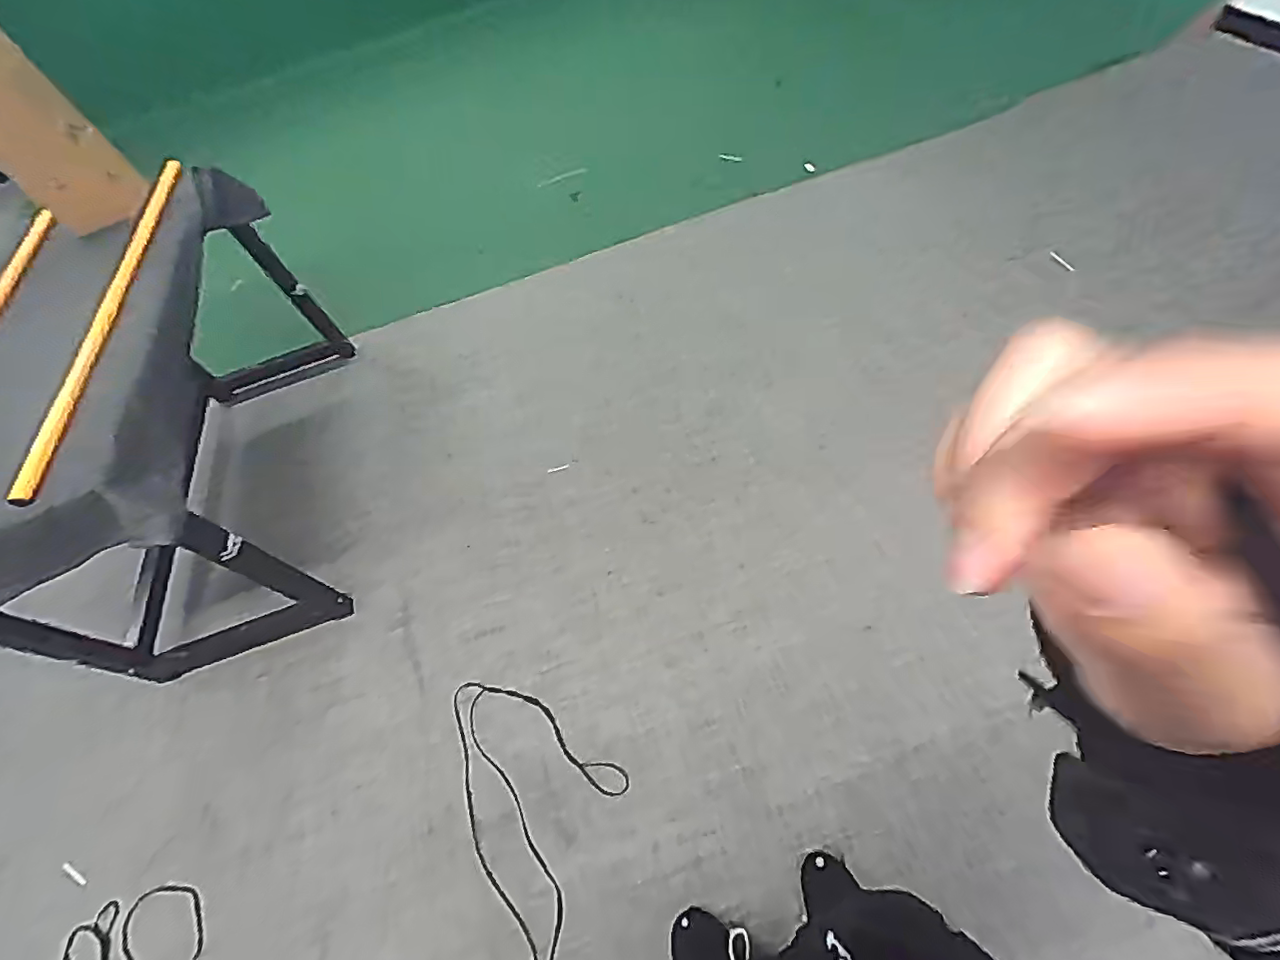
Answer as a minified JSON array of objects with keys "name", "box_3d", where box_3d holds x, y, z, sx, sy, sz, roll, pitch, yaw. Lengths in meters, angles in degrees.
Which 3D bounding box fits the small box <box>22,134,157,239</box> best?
[{"name":"small box","box_3d":[-1.476,-0.792,1.466,0.179,0.176,0.168,-19,57,1]}]

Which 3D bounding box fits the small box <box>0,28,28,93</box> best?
[{"name":"small box","box_3d":[-1.536,-0.966,1.196,0.168,0.176,0.179,-21,59,0]}]

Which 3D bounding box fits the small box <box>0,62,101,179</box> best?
[{"name":"small box","box_3d":[-1.509,-0.880,1.333,0.179,0.176,0.168,-20,58,-1]}]
